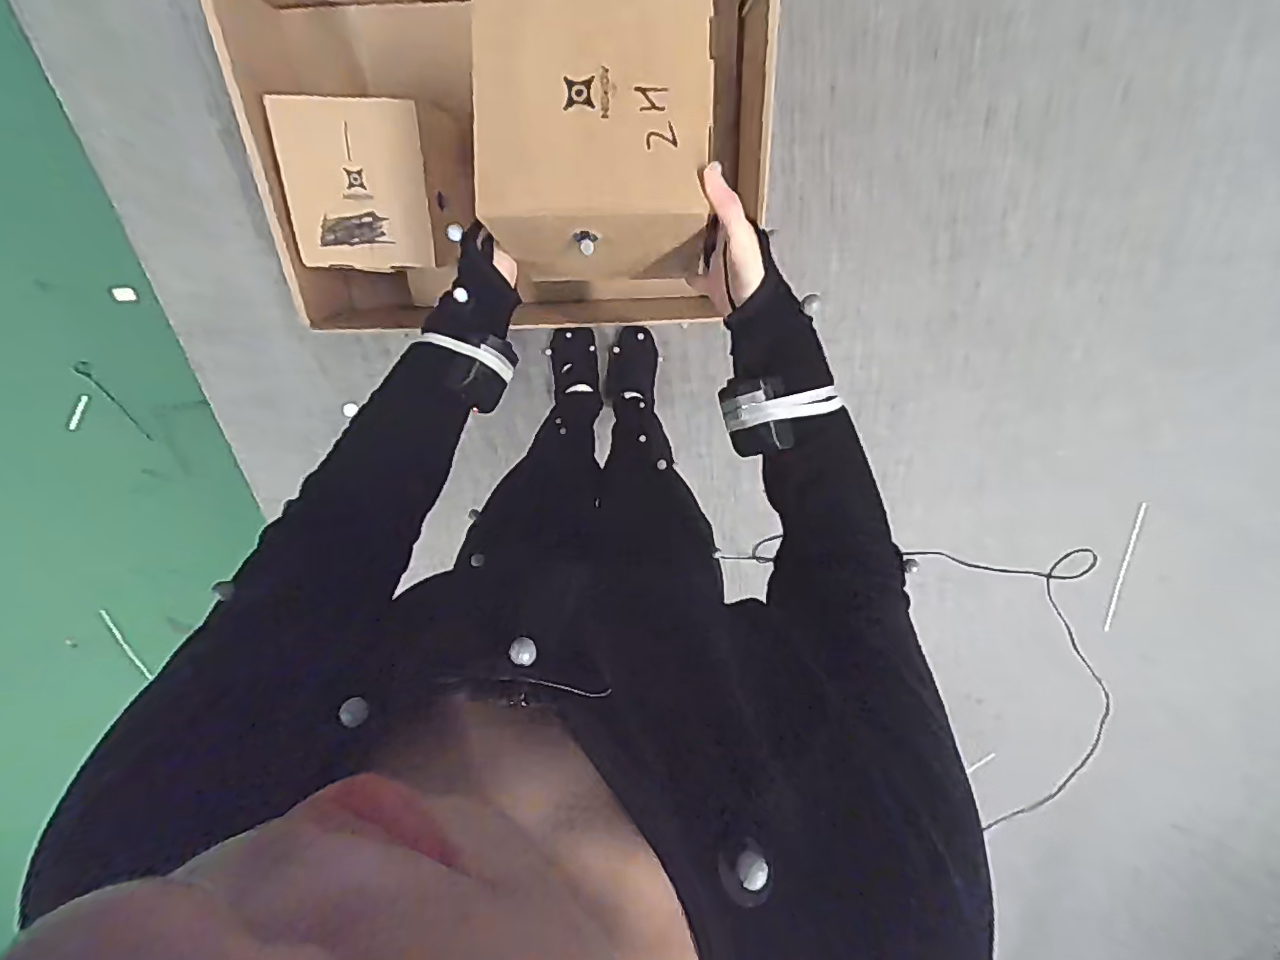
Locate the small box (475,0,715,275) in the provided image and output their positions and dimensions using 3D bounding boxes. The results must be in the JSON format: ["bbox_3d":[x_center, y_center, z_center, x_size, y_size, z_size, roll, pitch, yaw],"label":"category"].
[{"bbox_3d":[-0.030,-0.286,0.474,0.179,0.176,0.168,1,96,2],"label":"small box"}]
